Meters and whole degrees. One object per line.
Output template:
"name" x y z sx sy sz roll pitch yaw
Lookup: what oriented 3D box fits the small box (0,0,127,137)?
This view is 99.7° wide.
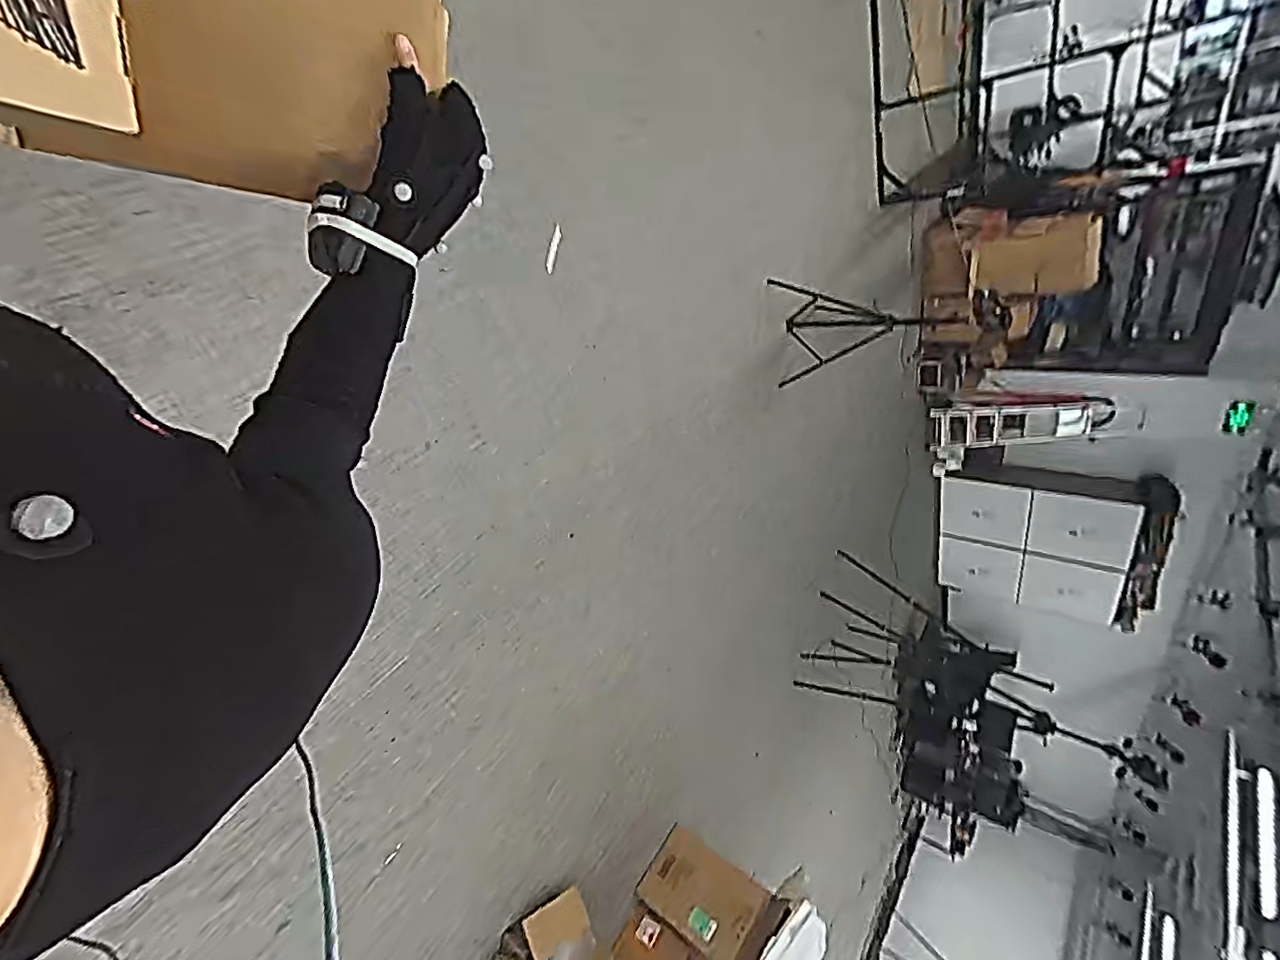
"small box" -0.416 -0.290 0.264 0.179 0.176 0.168 -31 133 -59
